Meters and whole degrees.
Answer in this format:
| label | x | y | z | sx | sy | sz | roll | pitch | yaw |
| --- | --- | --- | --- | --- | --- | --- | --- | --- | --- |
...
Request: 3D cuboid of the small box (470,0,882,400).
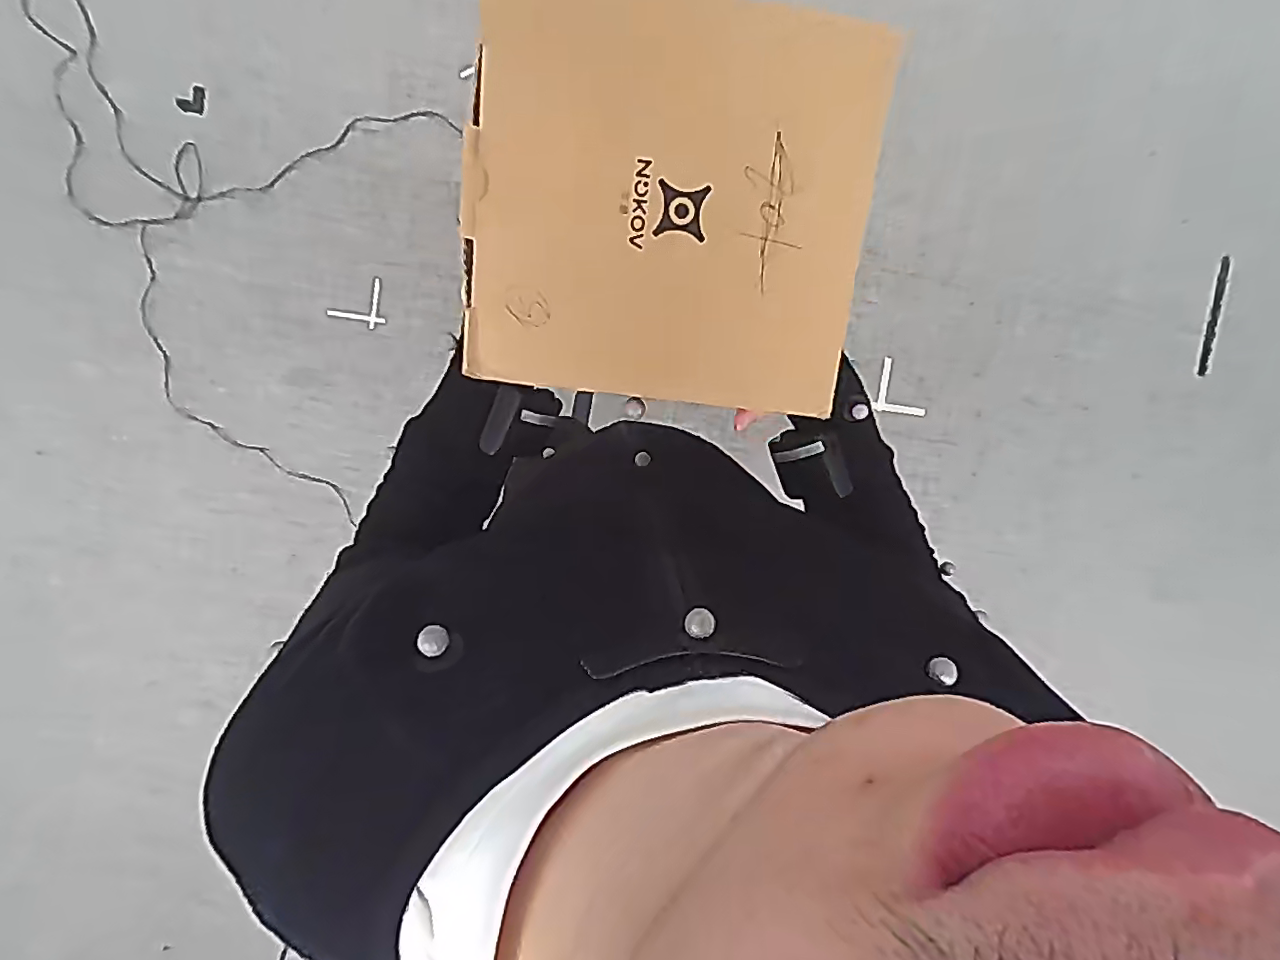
| label | x | y | z | sx | sy | sz | roll | pitch | yaw |
| --- | --- | --- | --- | --- | --- | --- | --- | --- | --- |
| small box | 0.008 | -0.145 | 0.326 | 0.179 | 0.176 | 0.168 | 5 | 103 | -6 |
